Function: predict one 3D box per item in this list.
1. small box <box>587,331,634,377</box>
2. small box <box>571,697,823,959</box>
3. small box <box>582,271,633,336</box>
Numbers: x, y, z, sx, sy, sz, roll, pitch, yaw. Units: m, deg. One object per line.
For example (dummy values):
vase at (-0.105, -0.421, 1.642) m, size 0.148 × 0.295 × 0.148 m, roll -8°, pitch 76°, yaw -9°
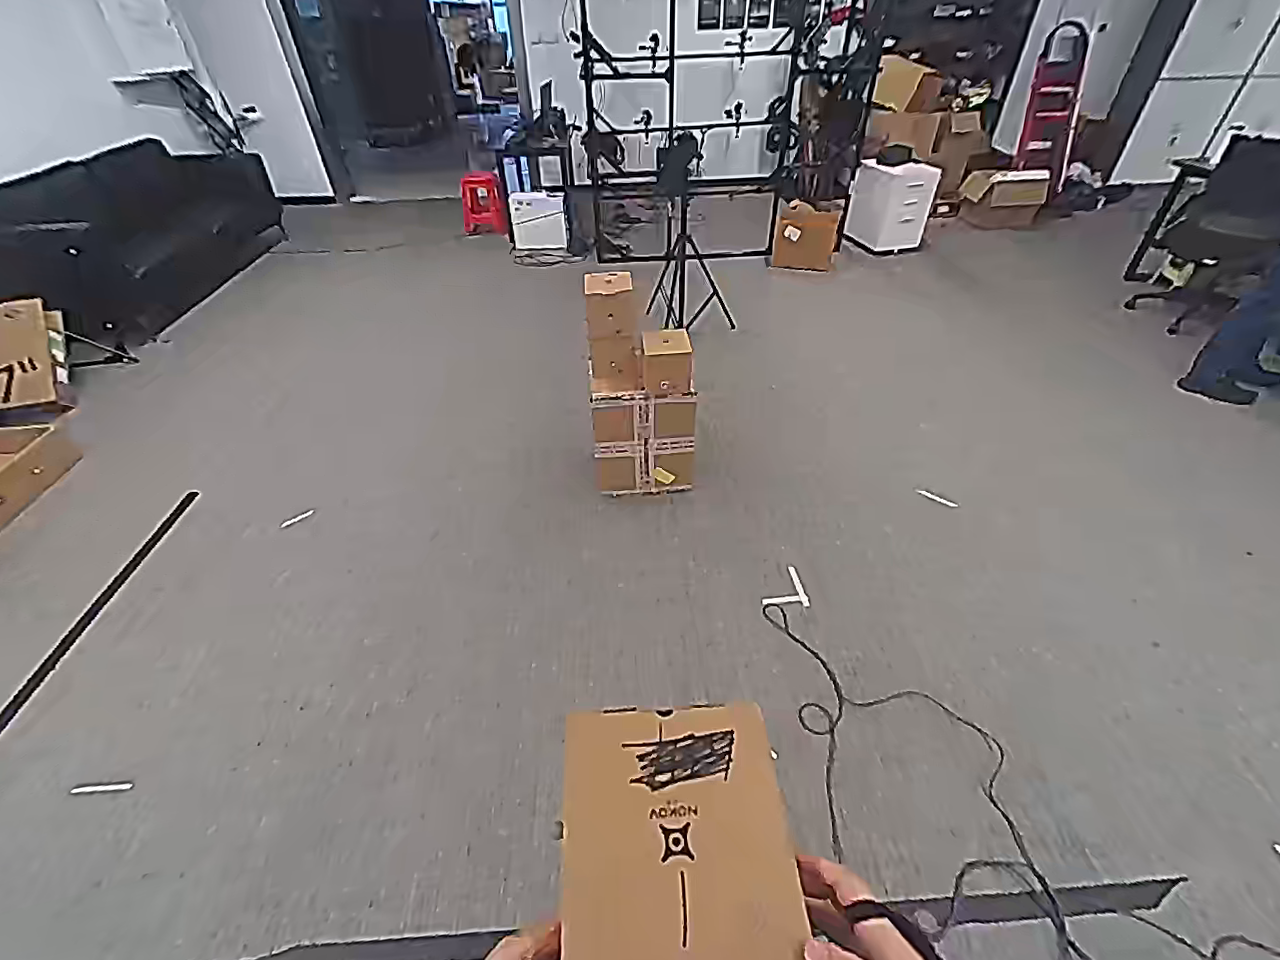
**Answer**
small box at (-0.113, -0.513, 2.062) m, size 0.168 × 0.176 × 0.179 m, roll -6°, pitch 43°, yaw -2°
small box at (0.028, 0.307, 0.458) m, size 0.168 × 0.176 × 0.179 m, roll -2°, pitch 47°, yaw -4°
small box at (-0.115, -0.629, 1.945) m, size 0.168 × 0.176 × 0.179 m, roll -5°, pitch 43°, yaw -1°
